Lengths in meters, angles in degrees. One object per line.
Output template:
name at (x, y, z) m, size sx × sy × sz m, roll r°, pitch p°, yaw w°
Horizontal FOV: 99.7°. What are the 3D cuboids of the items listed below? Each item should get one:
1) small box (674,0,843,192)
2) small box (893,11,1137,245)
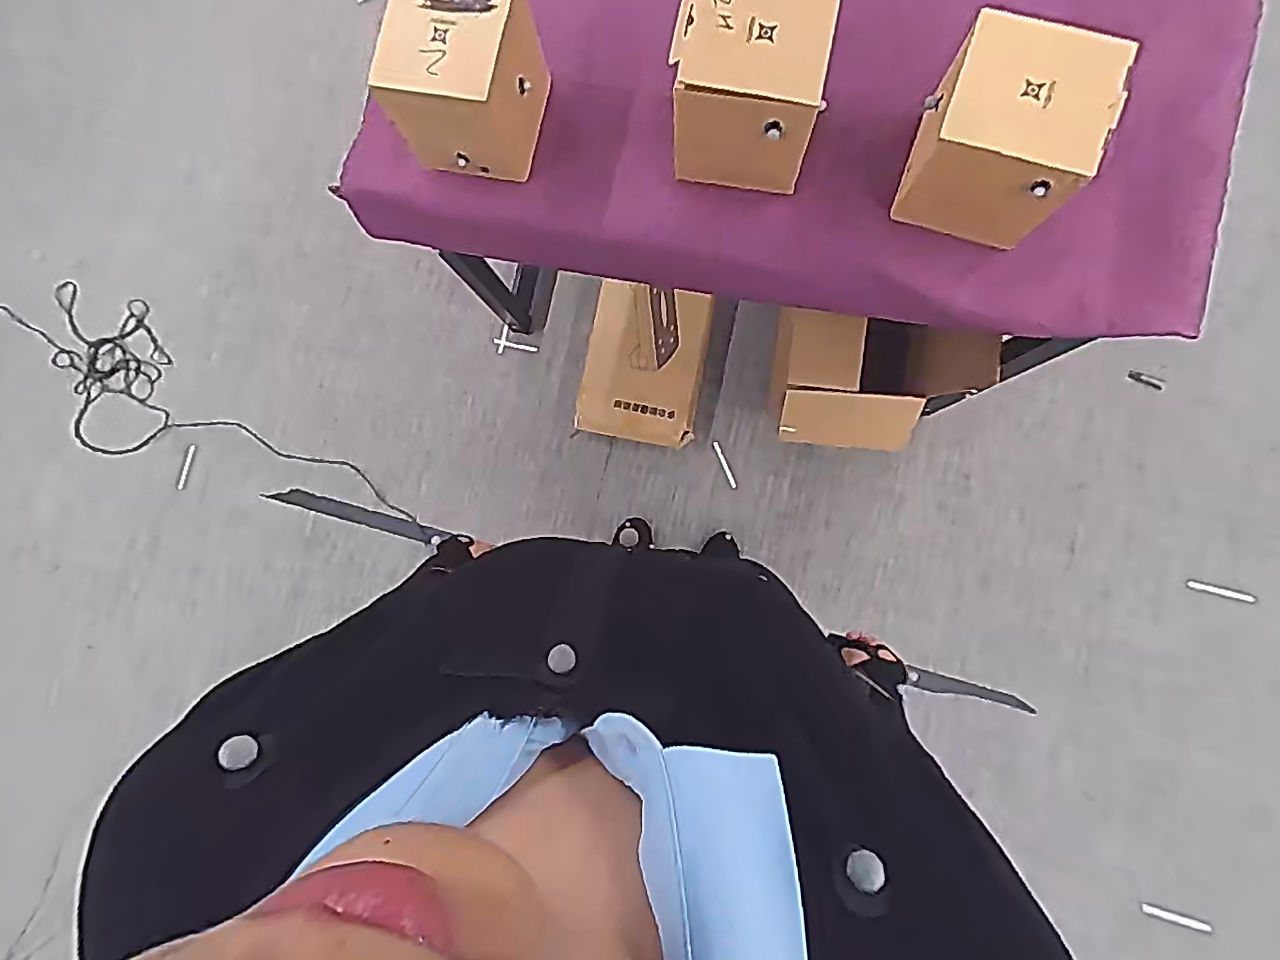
small box at (0.148, -0.516, 0.720) m, size 0.179 × 0.176 × 0.168 m, roll 12°, pitch 84°, yaw 6°
small box at (0.452, -0.428, 0.685) m, size 0.179 × 0.176 × 0.168 m, roll 19°, pitch 88°, yaw 6°
